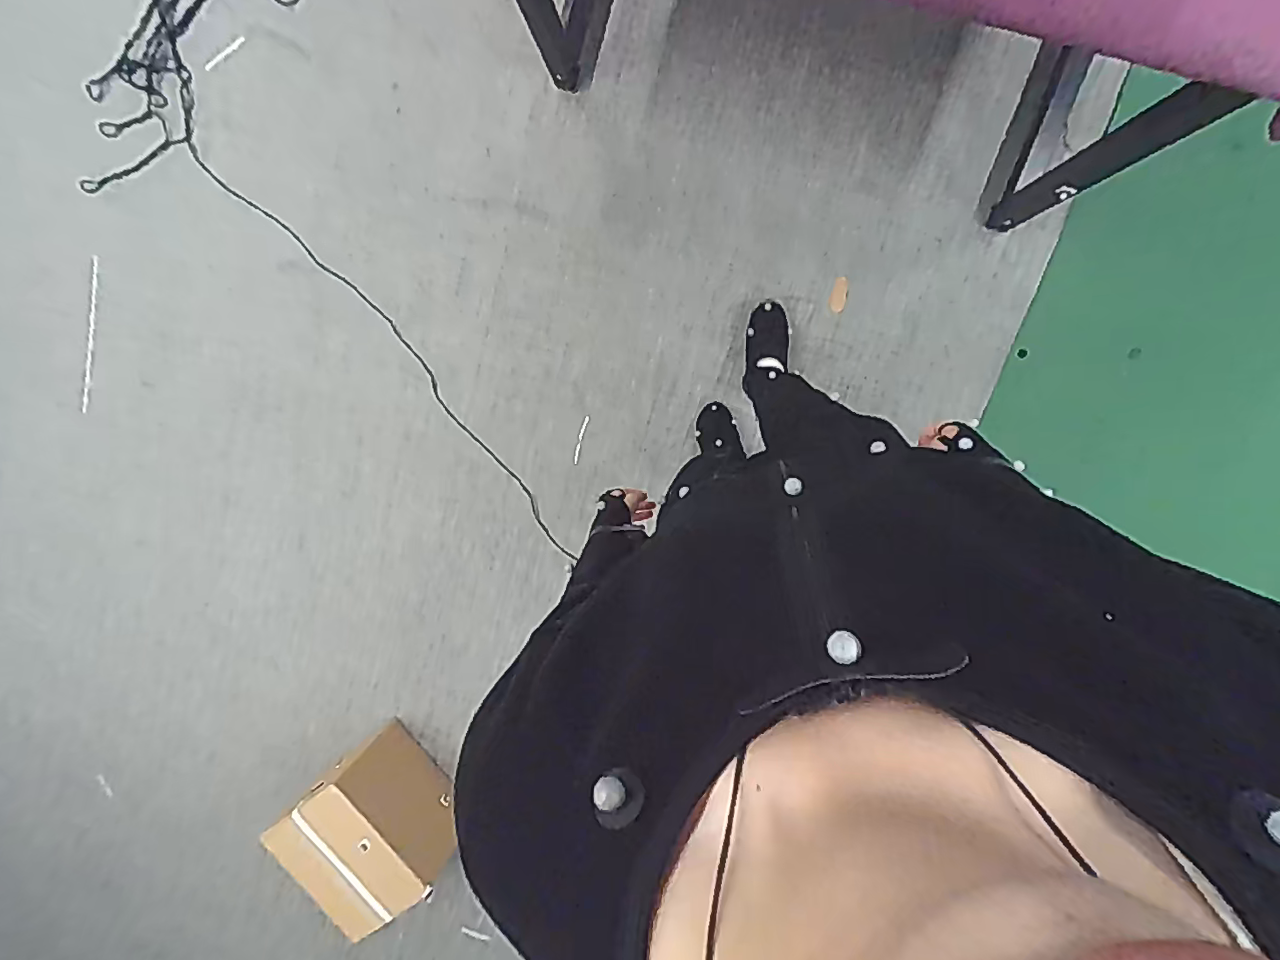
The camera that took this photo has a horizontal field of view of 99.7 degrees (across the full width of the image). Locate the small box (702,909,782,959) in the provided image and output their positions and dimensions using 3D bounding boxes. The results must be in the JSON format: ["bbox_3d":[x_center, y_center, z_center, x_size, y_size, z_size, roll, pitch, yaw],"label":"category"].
[{"bbox_3d":[0.239,1.175,1.282,0.168,0.176,0.179,10,100,5],"label":"small box"}]
